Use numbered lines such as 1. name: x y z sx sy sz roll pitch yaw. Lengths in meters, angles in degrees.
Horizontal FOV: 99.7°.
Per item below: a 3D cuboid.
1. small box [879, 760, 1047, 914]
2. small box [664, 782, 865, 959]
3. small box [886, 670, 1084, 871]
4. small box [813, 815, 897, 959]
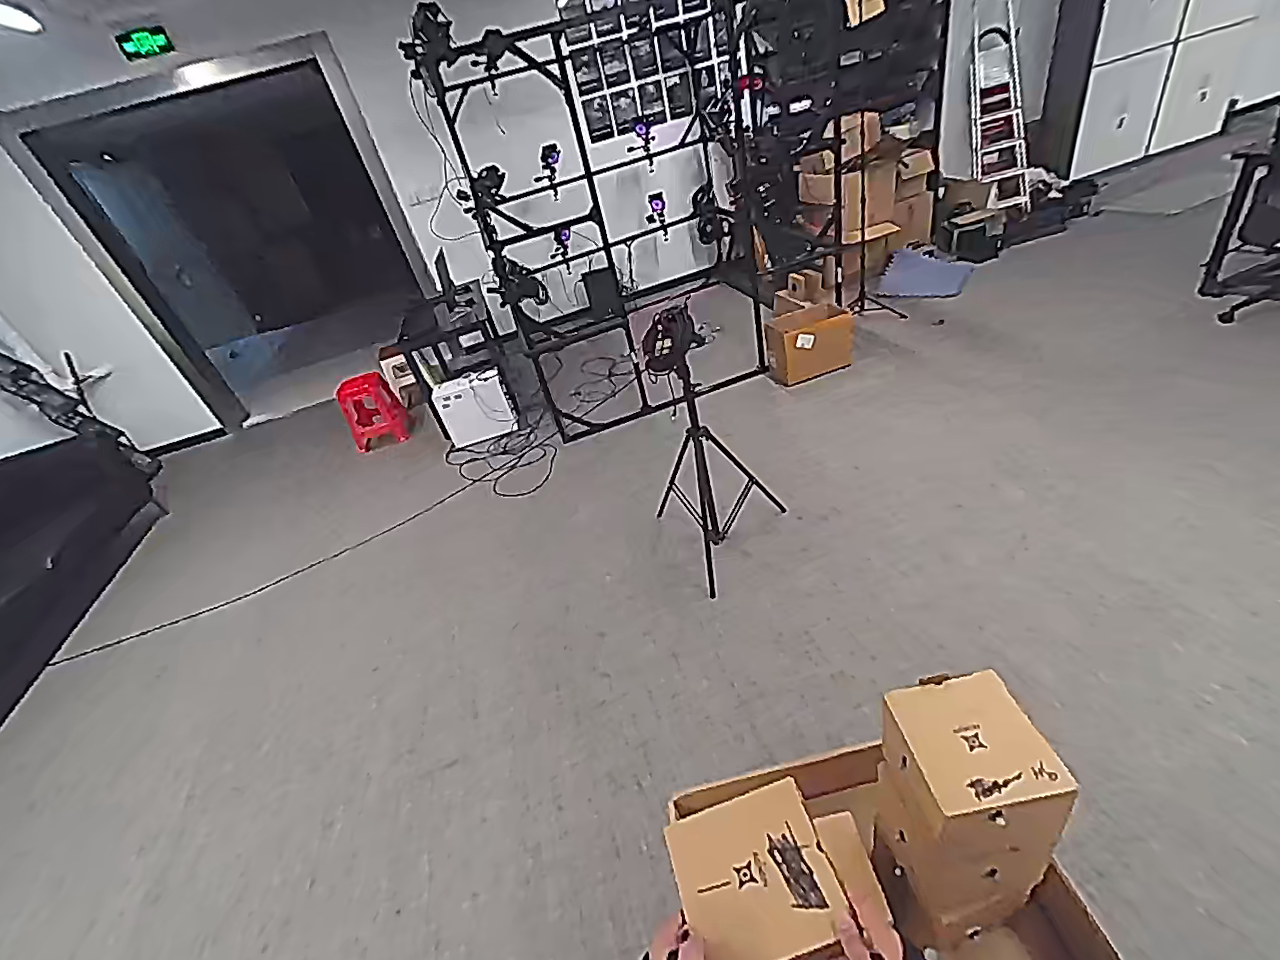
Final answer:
1. small box: 0.499 0.536 0.843 0.179 0.176 0.168 -18 34 -1
2. small box: 0.148 0.505 0.643 0.179 0.176 0.168 -21 32 -1
3. small box: 0.460 0.402 0.755 0.168 0.176 0.179 -15 33 5
4. small box: 0.322 0.723 0.945 0.179 0.176 0.168 -14 34 2
